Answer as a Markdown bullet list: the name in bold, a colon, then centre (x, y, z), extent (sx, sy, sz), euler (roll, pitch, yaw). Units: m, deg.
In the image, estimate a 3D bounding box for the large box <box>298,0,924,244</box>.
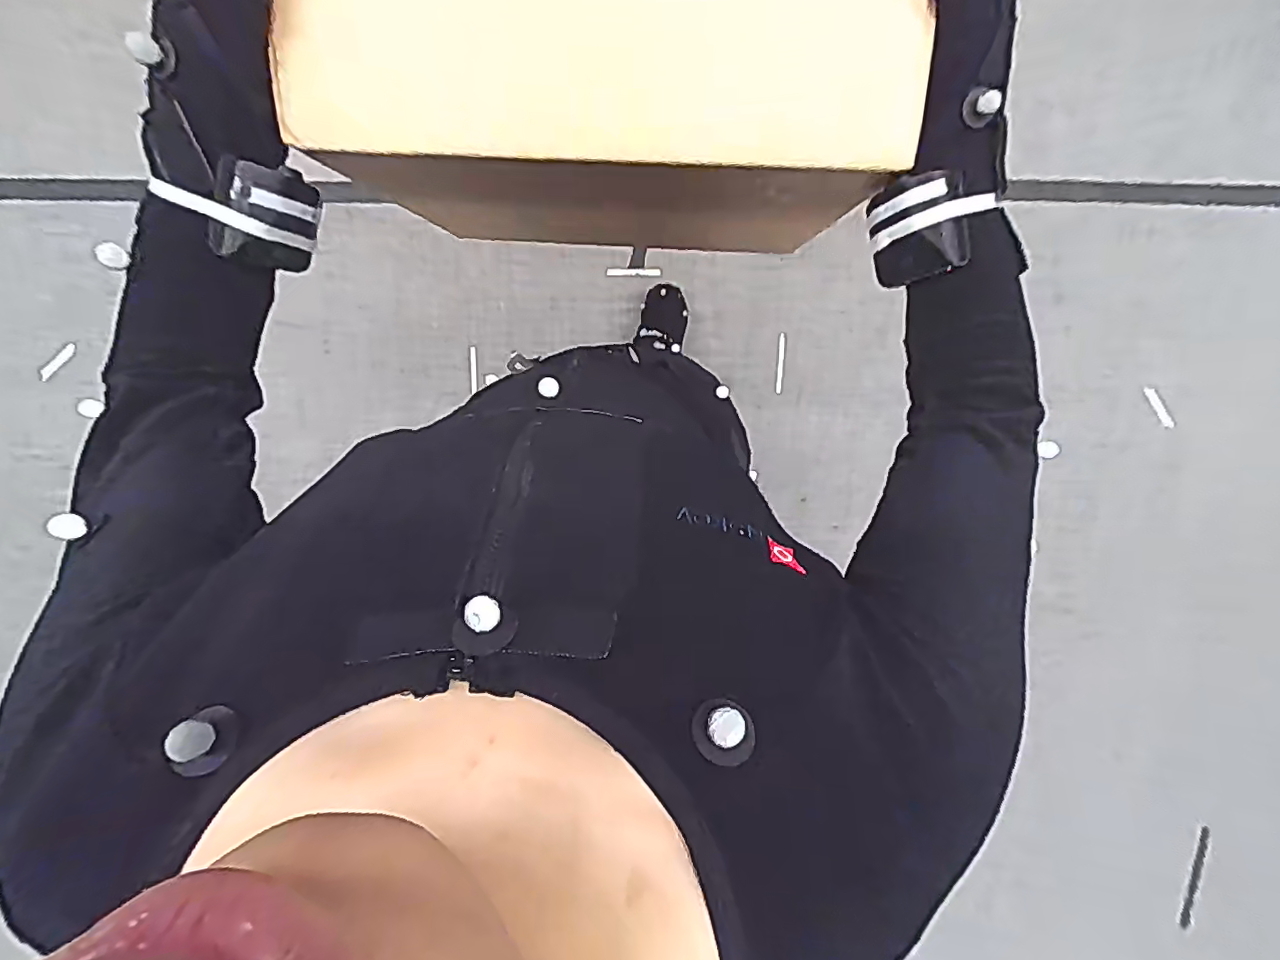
- **large box**: centre (-0.015, -0.402, 0.470), extent (0.408, 0.320, 0.320), euler (3, 104, 1)
